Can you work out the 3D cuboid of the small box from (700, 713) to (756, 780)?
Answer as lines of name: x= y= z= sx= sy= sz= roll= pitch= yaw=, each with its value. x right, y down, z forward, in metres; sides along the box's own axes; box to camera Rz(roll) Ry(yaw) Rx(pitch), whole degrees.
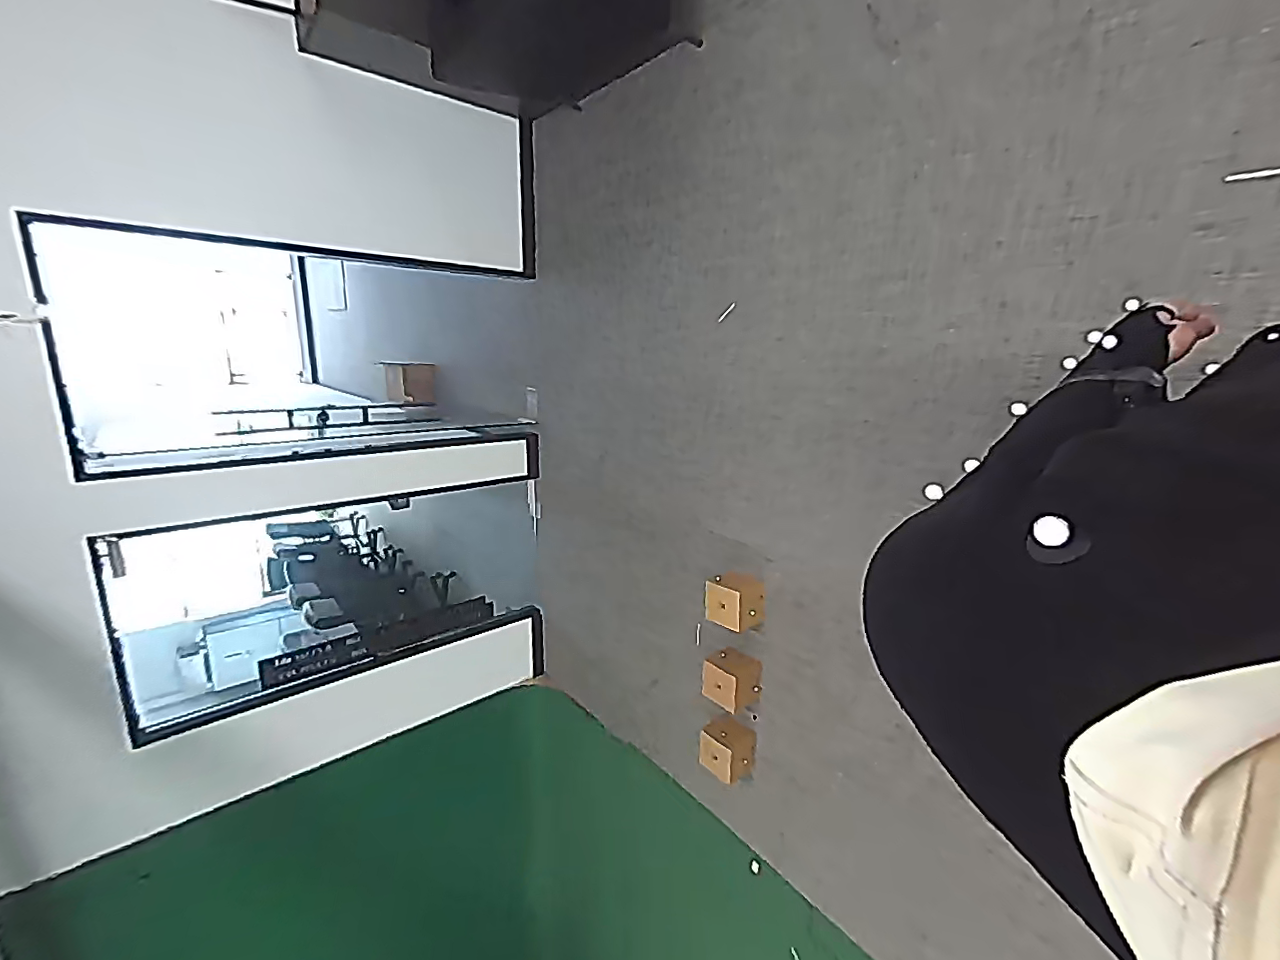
small box: x=0.377 y=1.129 z=2.309 sx=0.179 sy=0.176 sz=0.168 roll=16 pitch=109 yaw=49

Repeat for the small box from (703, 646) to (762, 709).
small box: x=0.382 y=0.808 z=2.239 sx=0.179 sy=0.176 sz=0.168 roll=16 pitch=110 yaw=48

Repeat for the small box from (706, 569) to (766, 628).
small box: x=0.386 y=0.467 z=2.163 sx=0.179 sy=0.176 sz=0.168 roll=11 pitch=107 yaw=50
